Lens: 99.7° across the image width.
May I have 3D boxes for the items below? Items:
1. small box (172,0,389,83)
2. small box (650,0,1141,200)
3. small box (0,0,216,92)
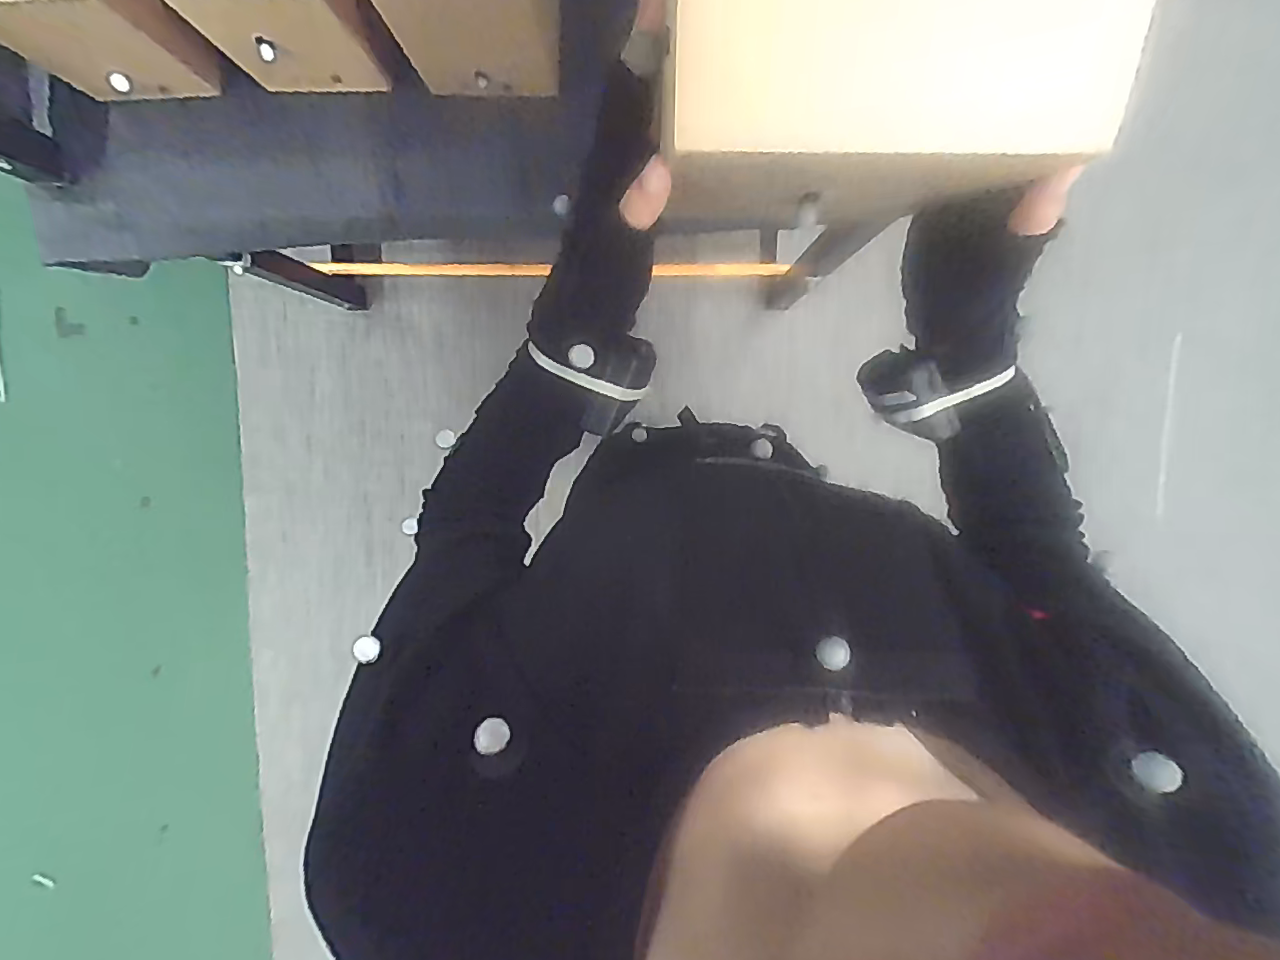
[{"bbox_3d":[-0.401,-0.586,0.608,0.168,0.176,0.179,1,95,0],"label":"small box"},{"bbox_3d":[0.091,-0.235,0.245,0.168,0.176,0.179,1,109,-1],"label":"small box"},{"bbox_3d":[-0.627,-0.582,0.610,0.168,0.176,0.179,-2,96,1],"label":"small box"}]
